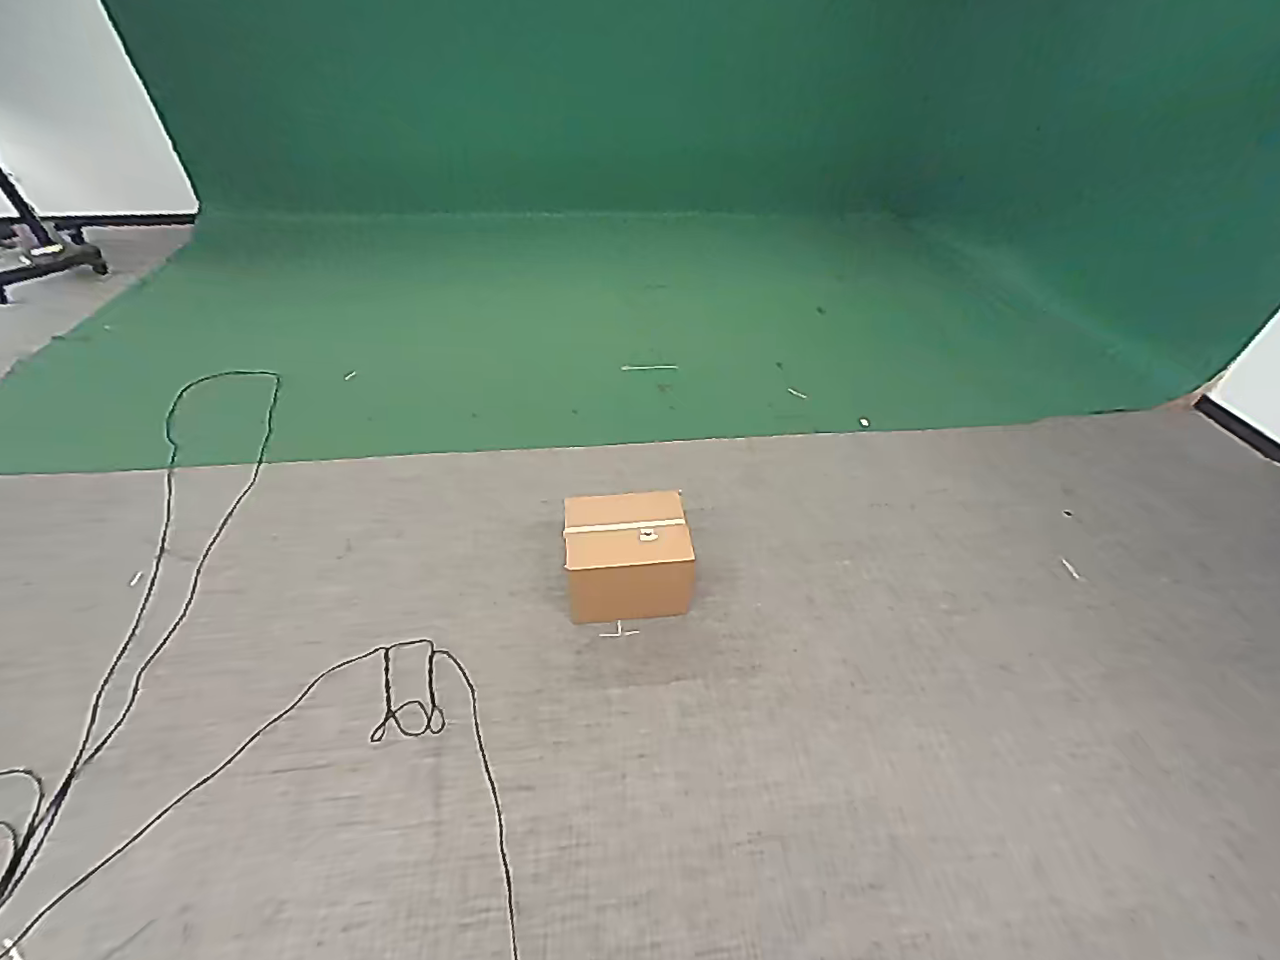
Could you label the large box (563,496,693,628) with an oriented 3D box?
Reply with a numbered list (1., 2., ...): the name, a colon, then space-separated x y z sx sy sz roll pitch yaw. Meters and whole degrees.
1. large box: -0.053 0.287 1.899 0.408 0.320 0.320 -4 43 -7
